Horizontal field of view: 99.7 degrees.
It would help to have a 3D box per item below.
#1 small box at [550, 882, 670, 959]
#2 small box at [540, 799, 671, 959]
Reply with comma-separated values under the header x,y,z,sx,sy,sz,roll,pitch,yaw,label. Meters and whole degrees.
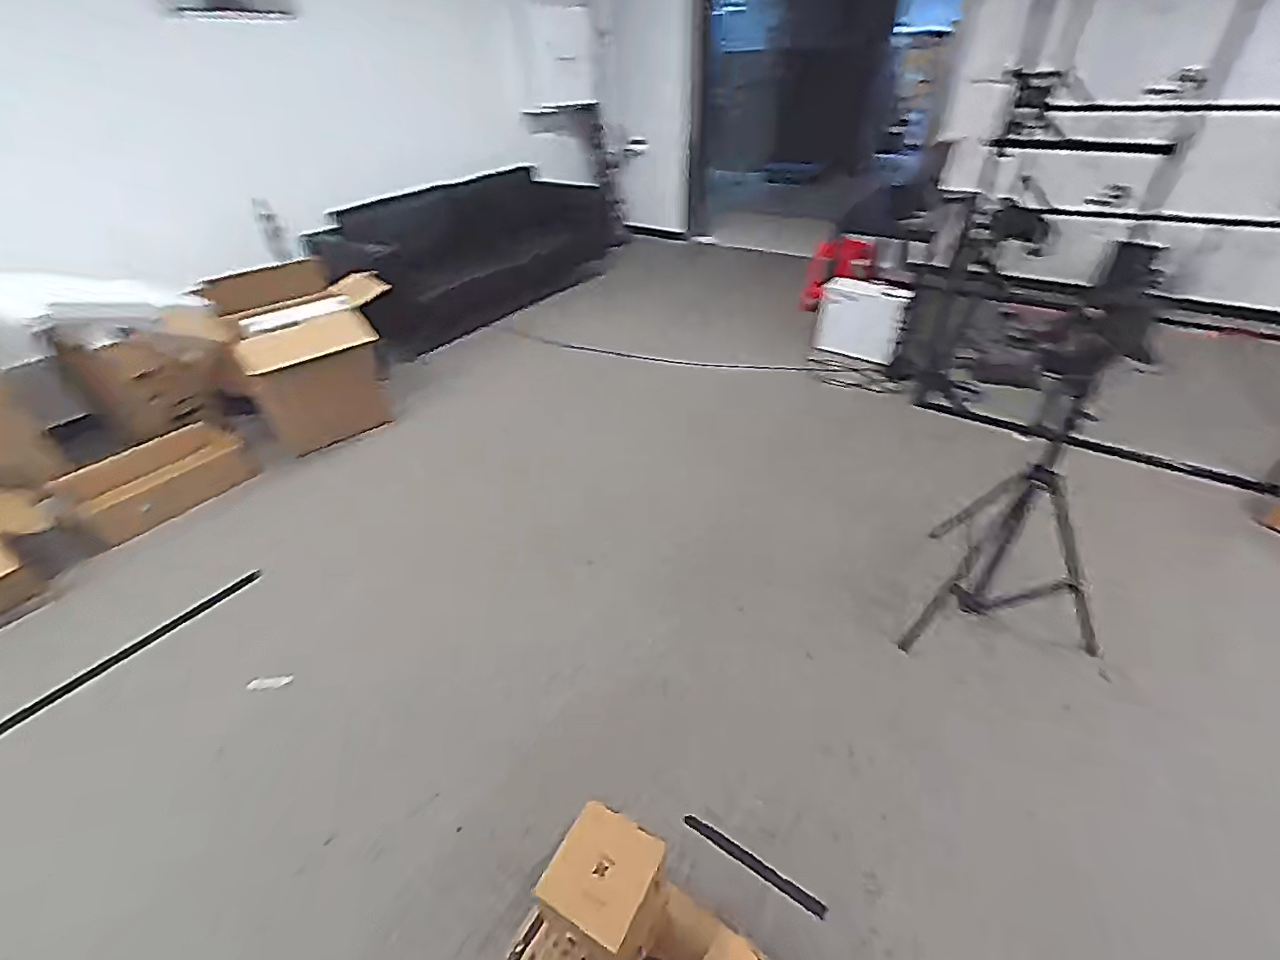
x,y,z,sx,sy,sz,roll,pitch,yaw,label
-0.051,0.863,1.073,0.168,0.176,0.179,24,45,29,small box
-0.057,0.732,0.976,0.168,0.176,0.179,18,42,24,small box
